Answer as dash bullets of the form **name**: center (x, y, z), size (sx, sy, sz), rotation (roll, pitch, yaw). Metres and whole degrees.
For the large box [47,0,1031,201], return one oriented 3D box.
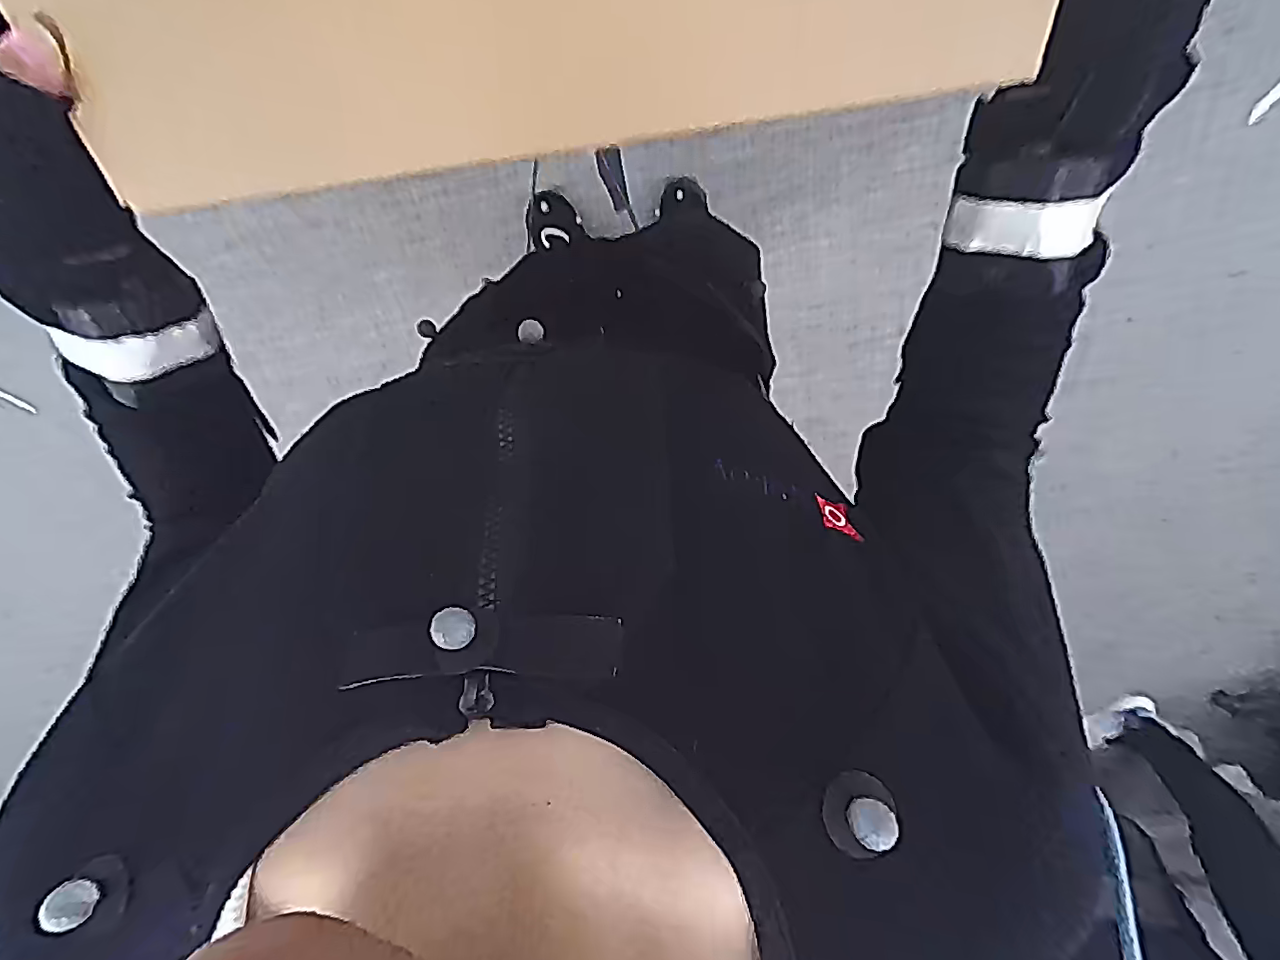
- **large box**: center (-0.057, -0.369, 0.278), size (0.408, 0.320, 0.320), rotation (-7, 127, 4)
